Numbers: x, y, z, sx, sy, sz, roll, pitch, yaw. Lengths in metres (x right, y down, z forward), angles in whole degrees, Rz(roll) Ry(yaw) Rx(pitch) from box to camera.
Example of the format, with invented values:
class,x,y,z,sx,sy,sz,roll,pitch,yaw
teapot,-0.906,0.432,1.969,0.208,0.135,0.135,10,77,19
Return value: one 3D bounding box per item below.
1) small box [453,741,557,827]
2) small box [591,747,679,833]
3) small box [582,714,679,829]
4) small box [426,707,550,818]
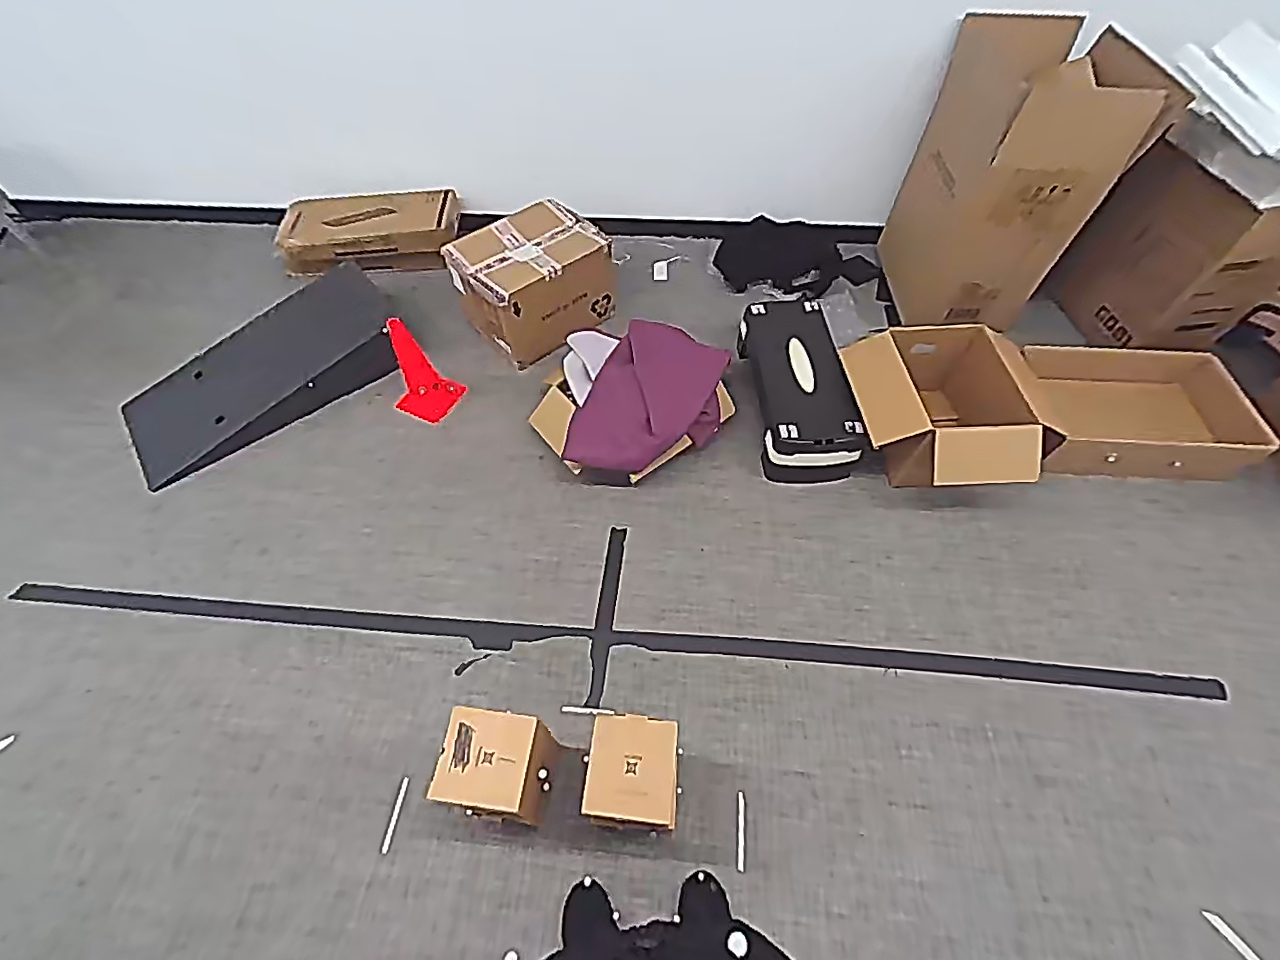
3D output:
class,x,y,z,sx,sy,sz,roll,pitch,yaw
small box,-0.292,0.670,1.220,0.168,0.176,0.179,5,57,6
small box,-0.007,0.683,1.205,0.179,0.176,0.168,3,56,3
small box,-0.013,0.582,1.077,0.168,0.176,0.179,4,57,5
small box,-0.294,0.572,1.087,0.179,0.176,0.168,6,56,5
